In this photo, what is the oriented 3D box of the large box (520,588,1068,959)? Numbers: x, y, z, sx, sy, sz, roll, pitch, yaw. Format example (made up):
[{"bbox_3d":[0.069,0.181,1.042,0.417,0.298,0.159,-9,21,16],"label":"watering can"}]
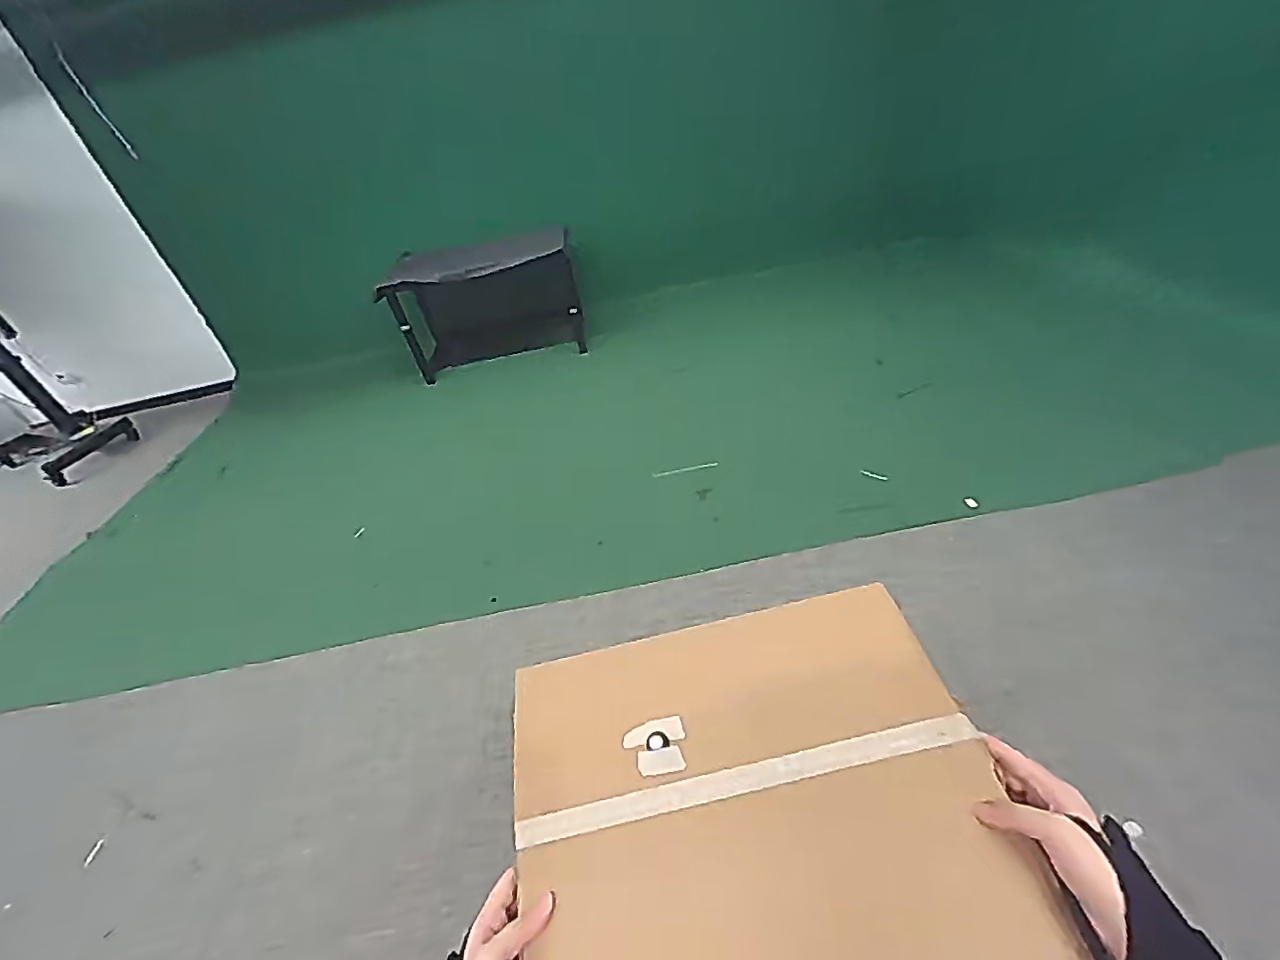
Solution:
[{"bbox_3d":[0.118,0.372,0.591,0.408,0.320,0.320,-15,45,2],"label":"large box"}]
